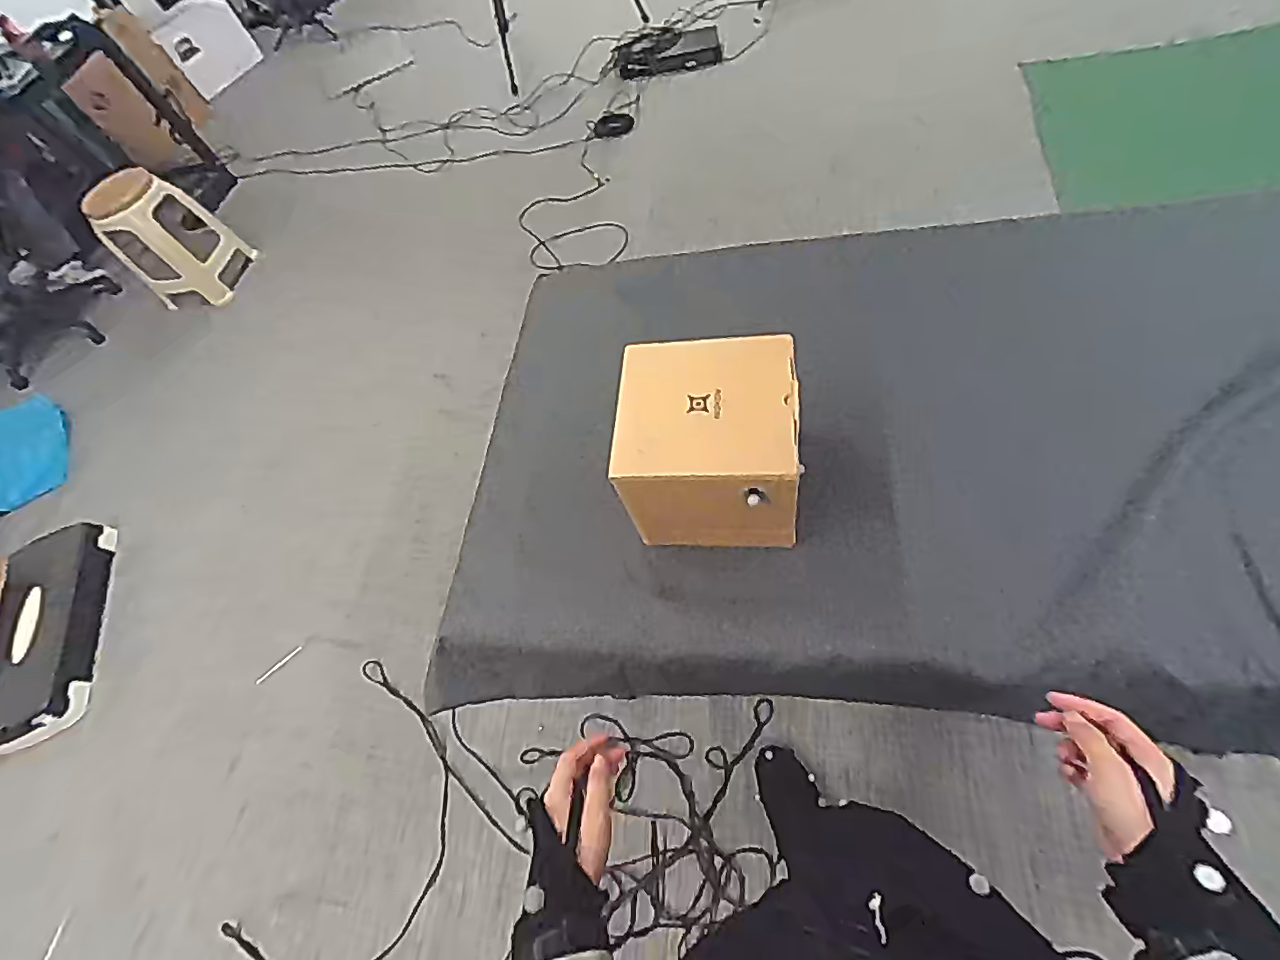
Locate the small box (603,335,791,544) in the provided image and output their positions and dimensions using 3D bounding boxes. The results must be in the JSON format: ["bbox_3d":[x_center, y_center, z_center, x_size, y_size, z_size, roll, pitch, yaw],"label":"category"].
[{"bbox_3d":[0.073,-0.035,0.597,0.179,0.176,0.168,-1,61,13],"label":"small box"}]
